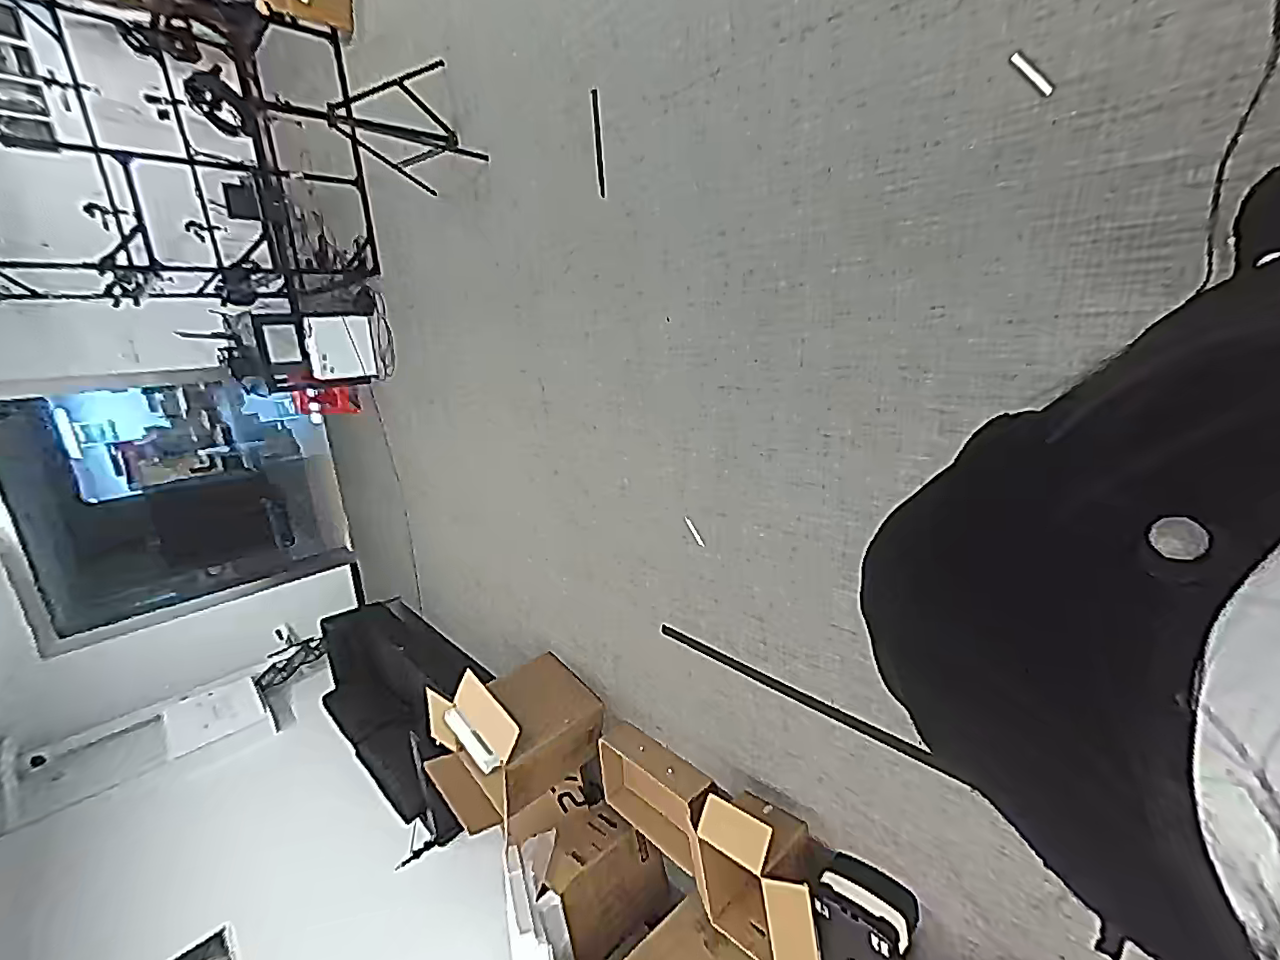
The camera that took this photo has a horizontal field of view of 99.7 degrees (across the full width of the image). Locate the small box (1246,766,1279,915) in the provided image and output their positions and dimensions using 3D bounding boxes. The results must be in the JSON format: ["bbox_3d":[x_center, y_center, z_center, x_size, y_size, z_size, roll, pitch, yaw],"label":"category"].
[{"bbox_3d":[1.142,0.626,0.898,0.168,0.176,0.179,7,107,45],"label":"small box"}]

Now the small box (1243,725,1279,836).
[{"bbox_3d":[1.263,0.593,1.001,0.179,0.176,0.168,11,111,47],"label":"small box"}]
